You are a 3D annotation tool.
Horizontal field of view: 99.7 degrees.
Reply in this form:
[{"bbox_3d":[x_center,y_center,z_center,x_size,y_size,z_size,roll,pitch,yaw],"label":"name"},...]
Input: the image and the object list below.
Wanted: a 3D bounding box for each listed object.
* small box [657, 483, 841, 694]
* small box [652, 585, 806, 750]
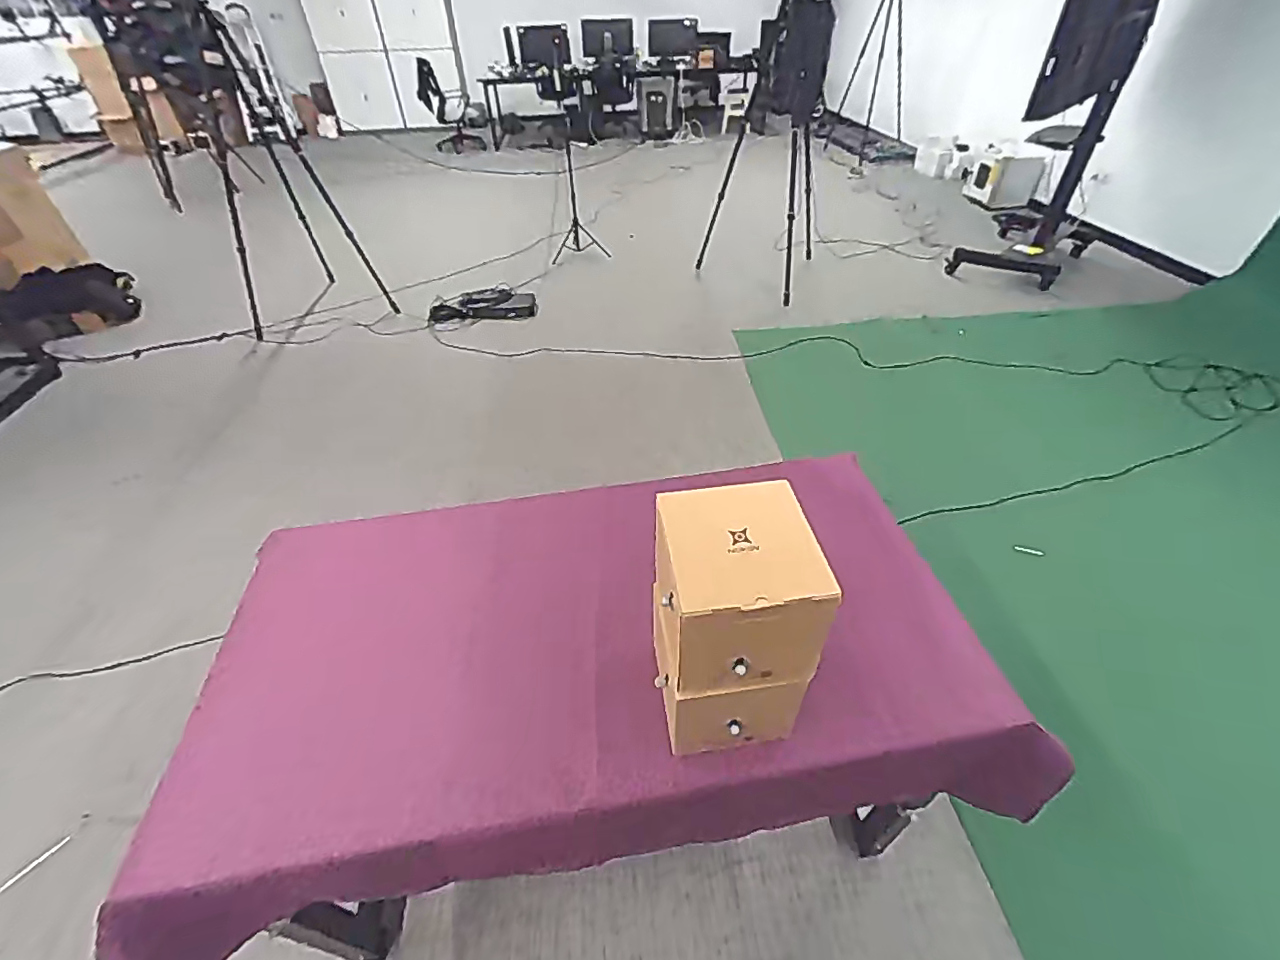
[{"bbox_3d":[0.112,0.129,0.650,0.168,0.176,0.179,-7,43,-5],"label":"small box"},{"bbox_3d":[0.112,0.255,0.753,0.168,0.176,0.179,-6,42,-5],"label":"small box"}]
